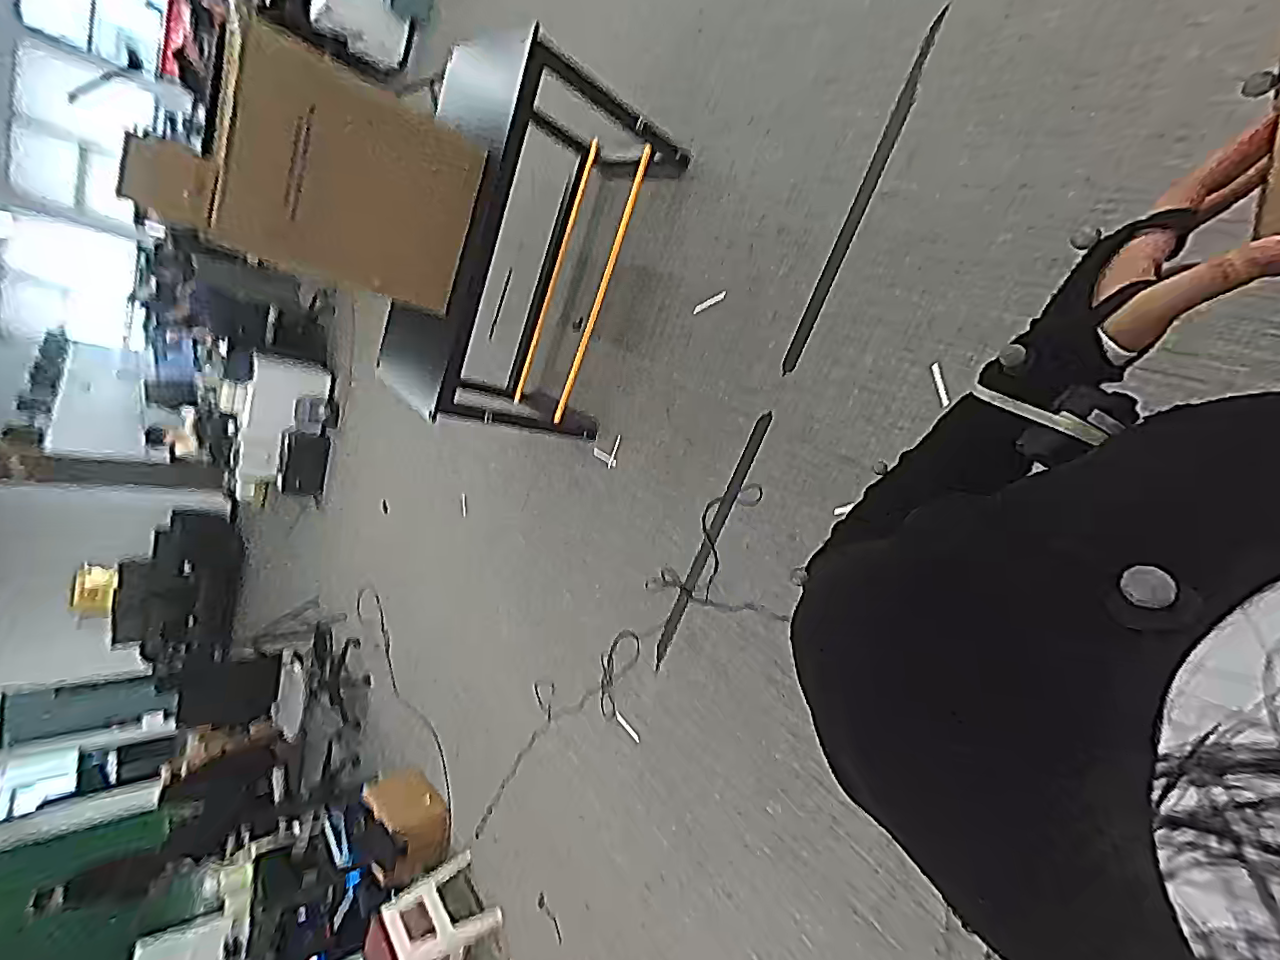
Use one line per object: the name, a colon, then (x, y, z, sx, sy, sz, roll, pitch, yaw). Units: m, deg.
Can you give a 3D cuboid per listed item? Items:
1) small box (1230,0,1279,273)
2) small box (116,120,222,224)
small box: (0.433, -0.215, 0.275, 0.168, 0.176, 0.179, 8, 106, 46)
small box: (-1.152, -0.749, 1.323, 0.179, 0.176, 0.168, 32, 107, 39)
